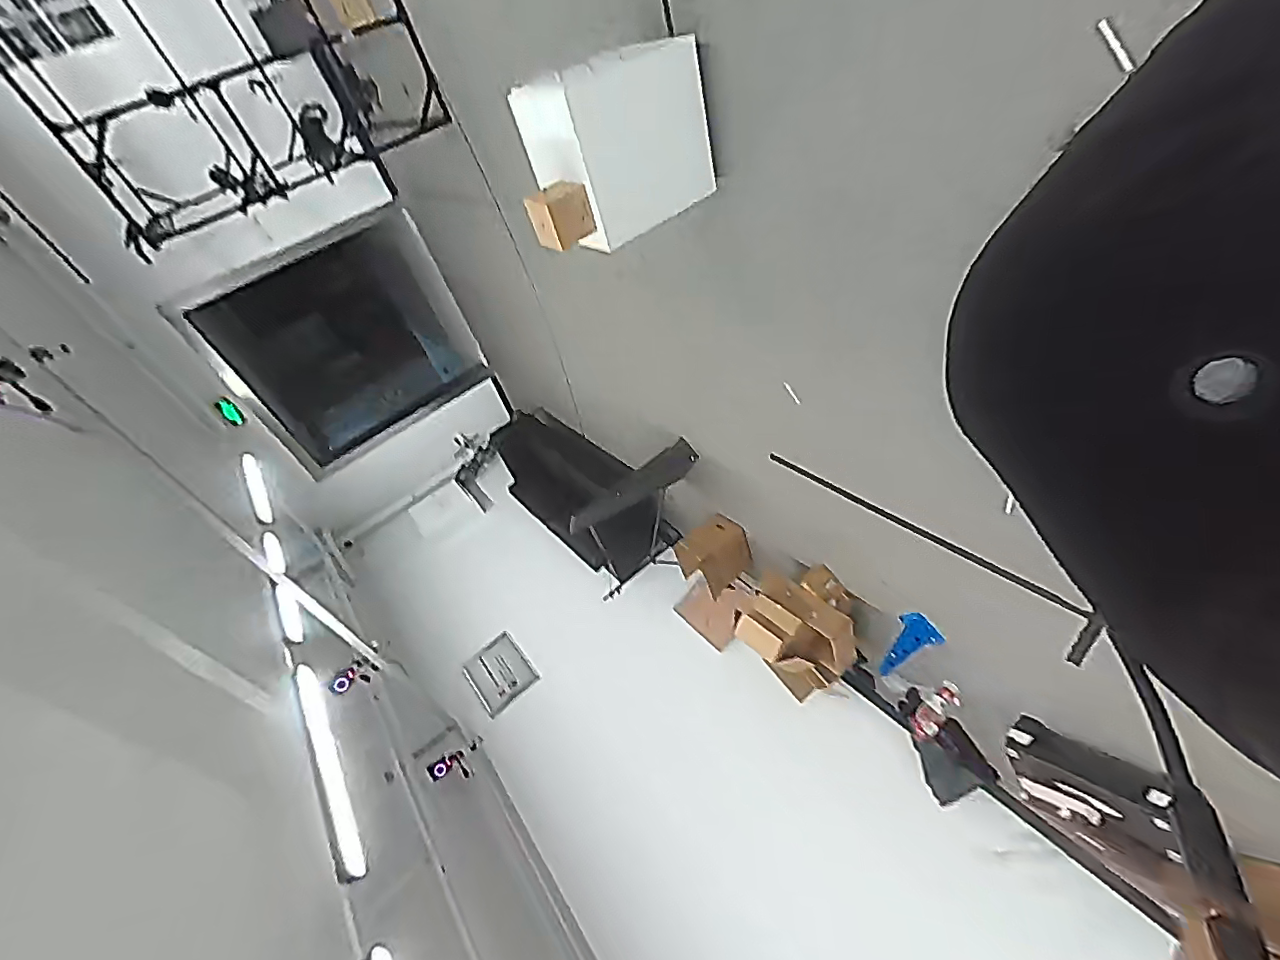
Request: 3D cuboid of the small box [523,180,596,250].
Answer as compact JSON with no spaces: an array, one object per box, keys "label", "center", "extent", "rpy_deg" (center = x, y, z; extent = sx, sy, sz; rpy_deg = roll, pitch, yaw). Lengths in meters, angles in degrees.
[{"label":"small box","center":[-0.285,-0.960,1.946],"extent":[0.179,0.176,0.168],"rpy_deg":[37,157,41]}]
